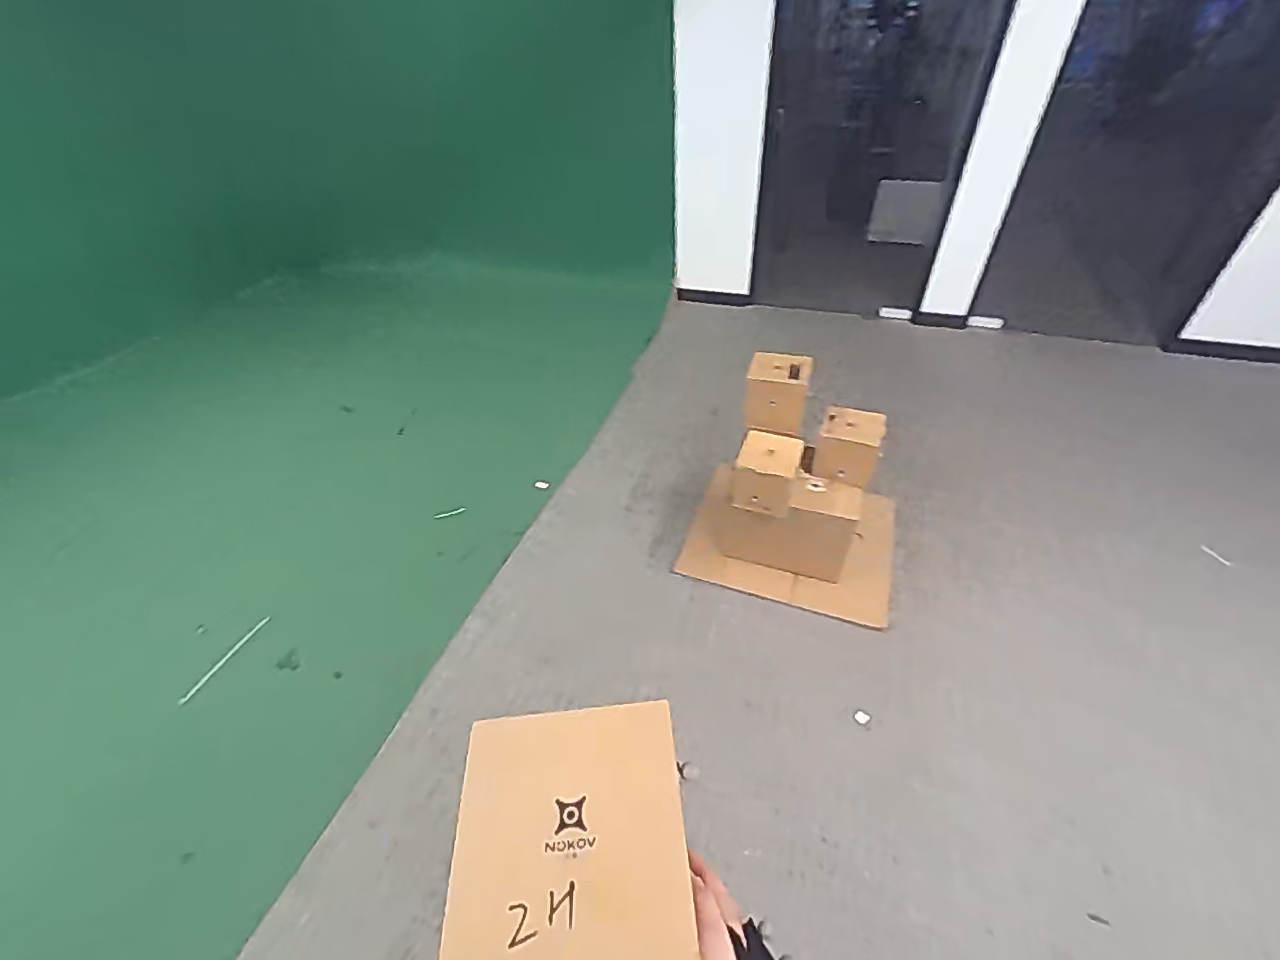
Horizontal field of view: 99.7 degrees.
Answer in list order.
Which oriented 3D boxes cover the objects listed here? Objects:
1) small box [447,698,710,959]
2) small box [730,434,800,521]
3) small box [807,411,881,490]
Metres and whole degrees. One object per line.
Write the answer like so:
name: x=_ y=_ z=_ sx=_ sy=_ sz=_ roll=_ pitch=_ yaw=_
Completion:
small box: x=-0.038 y=0.305 z=0.443 sx=0.168 sy=0.176 sz=0.179 roll=-5 pitch=42 yaw=0
small box: x=0.372 y=-0.007 z=1.631 sx=0.168 sy=0.176 sz=0.179 roll=14 pitch=46 yaw=17
small box: x=0.639 y=-0.090 z=1.702 sx=0.179 sy=0.176 sz=0.168 roll=14 pitch=45 yaw=21
